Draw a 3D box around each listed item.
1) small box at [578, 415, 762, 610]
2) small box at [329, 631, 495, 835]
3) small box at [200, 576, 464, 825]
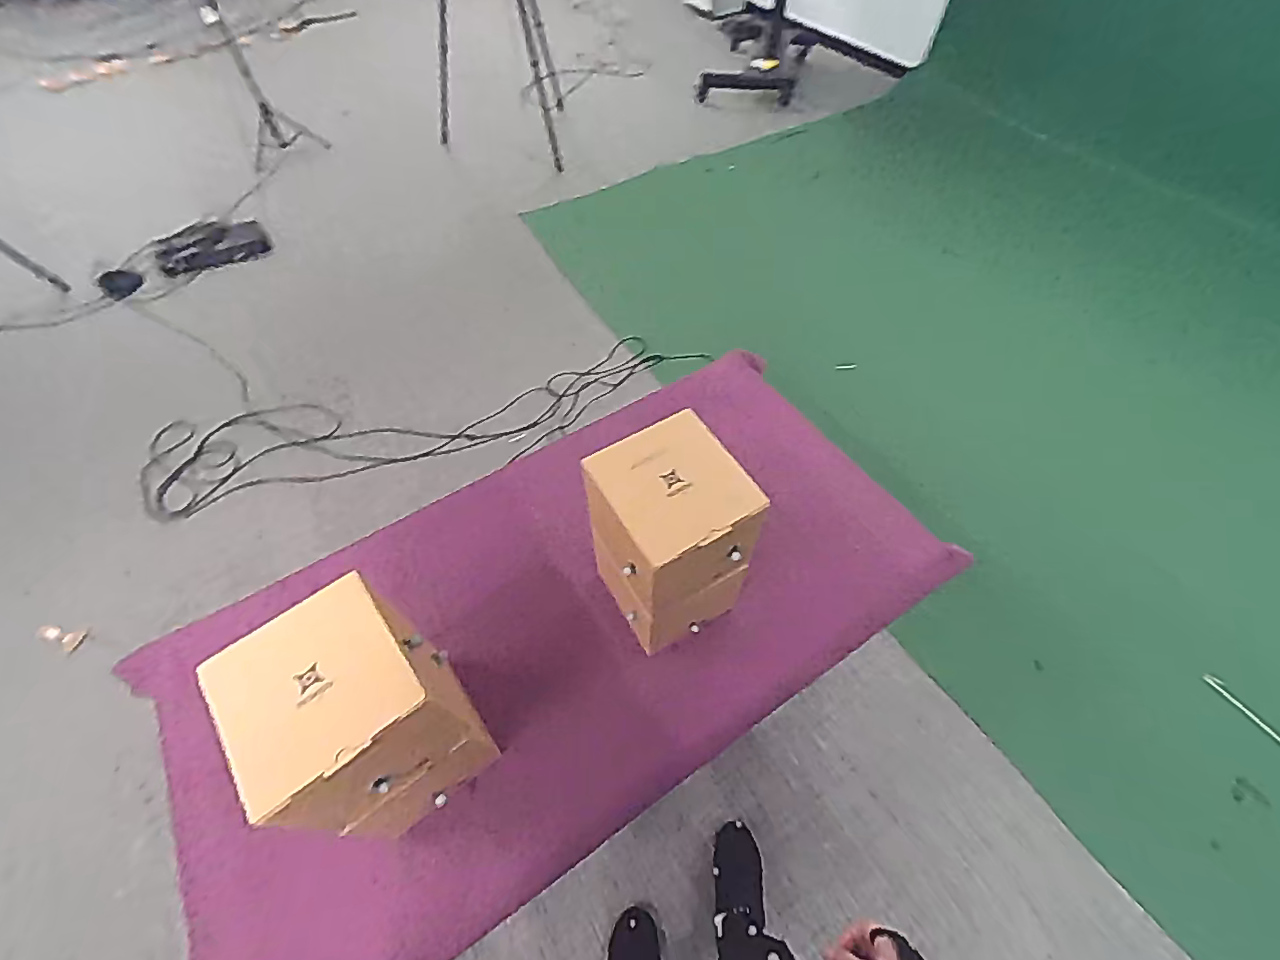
[{"bbox_3d":[0.035,0.052,0.722,0.168,0.176,0.179,-26,59,-17],"label":"small box"},{"bbox_3d":[-0.320,0.342,0.724,0.168,0.176,0.179,-33,61,-20],"label":"small box"},{"bbox_3d":[-0.322,0.245,0.594,0.168,0.176,0.179,-35,62,-22],"label":"small box"}]
